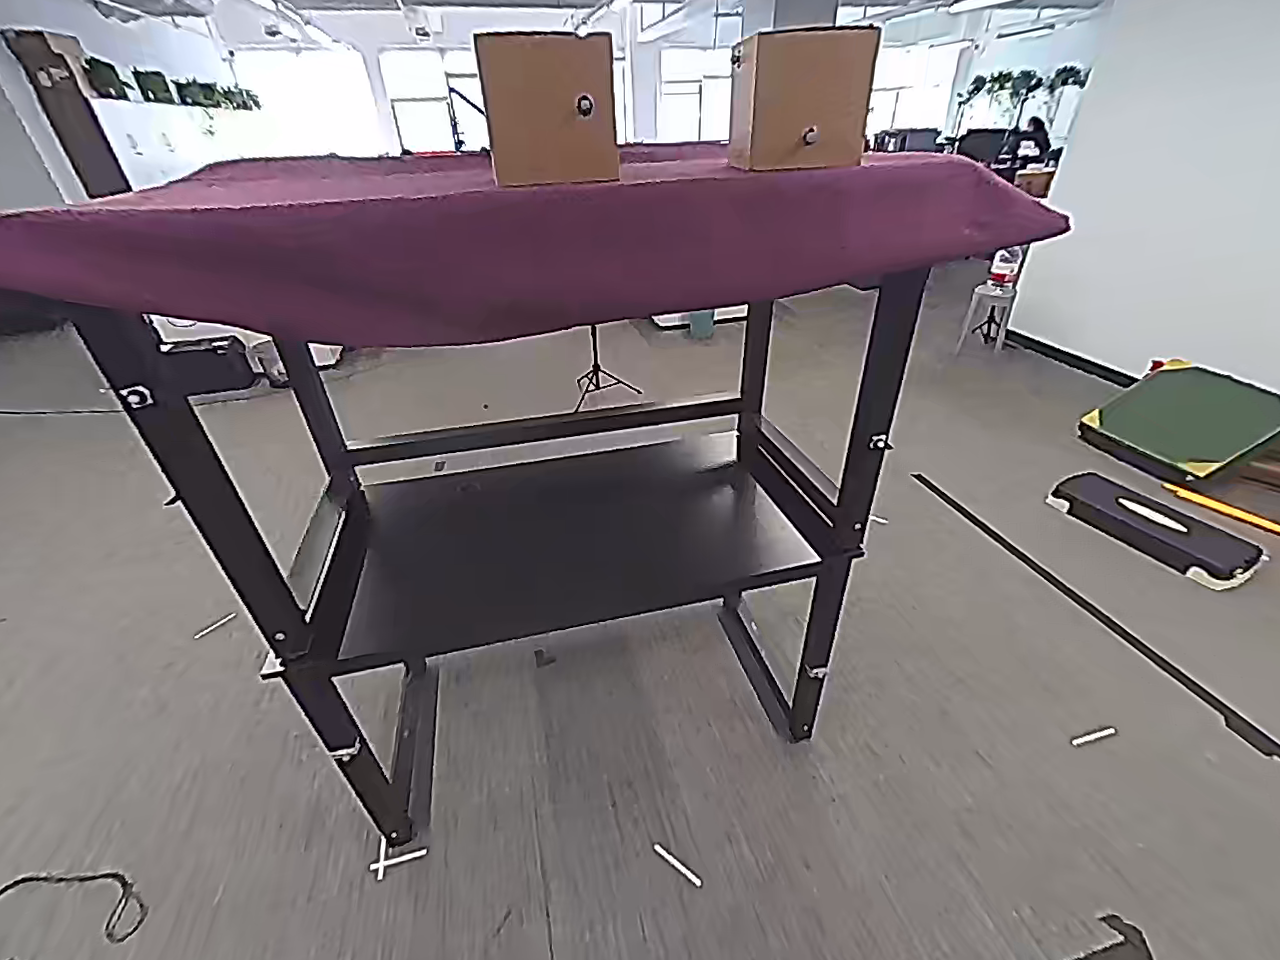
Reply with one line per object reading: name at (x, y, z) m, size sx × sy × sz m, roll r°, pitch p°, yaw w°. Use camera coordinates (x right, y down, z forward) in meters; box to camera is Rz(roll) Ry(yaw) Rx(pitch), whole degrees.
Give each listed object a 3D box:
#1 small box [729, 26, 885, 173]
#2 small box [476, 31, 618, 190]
small box at (0.244, -0.583, 0.838) m, size 0.179 × 0.176 × 0.168 m, roll -4°, pitch 33°, yaw -3°
small box at (-0.130, -0.523, 0.776) m, size 0.179 × 0.176 × 0.168 m, roll -9°, pitch 33°, yaw -10°
